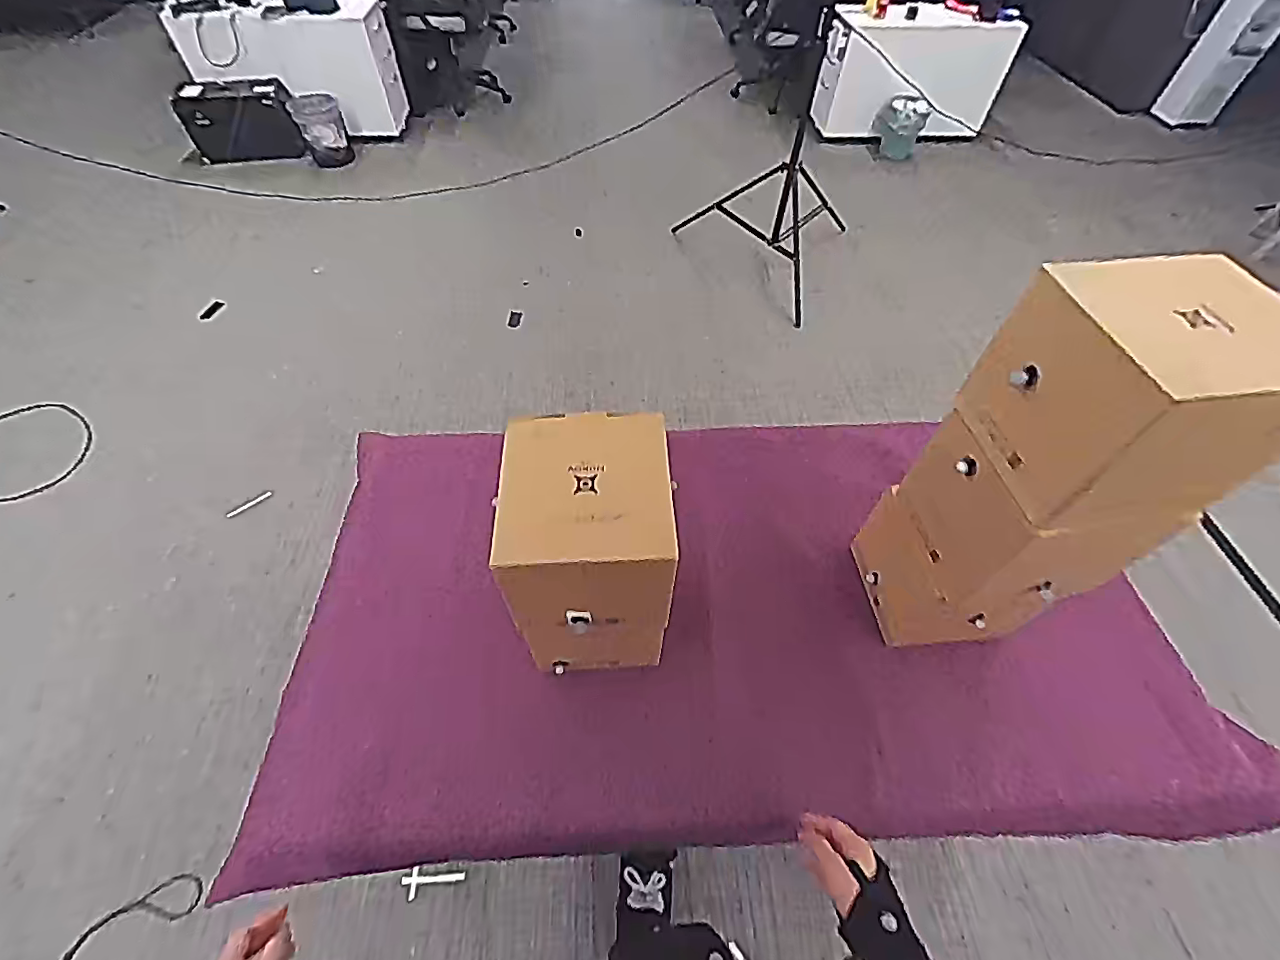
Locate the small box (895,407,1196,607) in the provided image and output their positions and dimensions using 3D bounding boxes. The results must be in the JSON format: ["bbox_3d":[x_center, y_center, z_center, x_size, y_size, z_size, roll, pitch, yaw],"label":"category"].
[{"bbox_3d":[0.430,0.029,0.613,0.179,0.176,0.168,-6,53,-6],"label":"small box"}]

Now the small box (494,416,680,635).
[{"bbox_3d":[-0.052,0.051,0.584,0.168,0.176,0.179,-3,54,-3],"label":"small box"}]

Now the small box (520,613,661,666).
[{"bbox_3d":[-0.059,0.139,0.720,0.168,0.176,0.179,-2,52,-3],"label":"small box"}]

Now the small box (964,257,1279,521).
[{"bbox_3d":[0.432,-0.076,0.488,0.179,0.176,0.168,-6,53,-5],"label":"small box"}]
